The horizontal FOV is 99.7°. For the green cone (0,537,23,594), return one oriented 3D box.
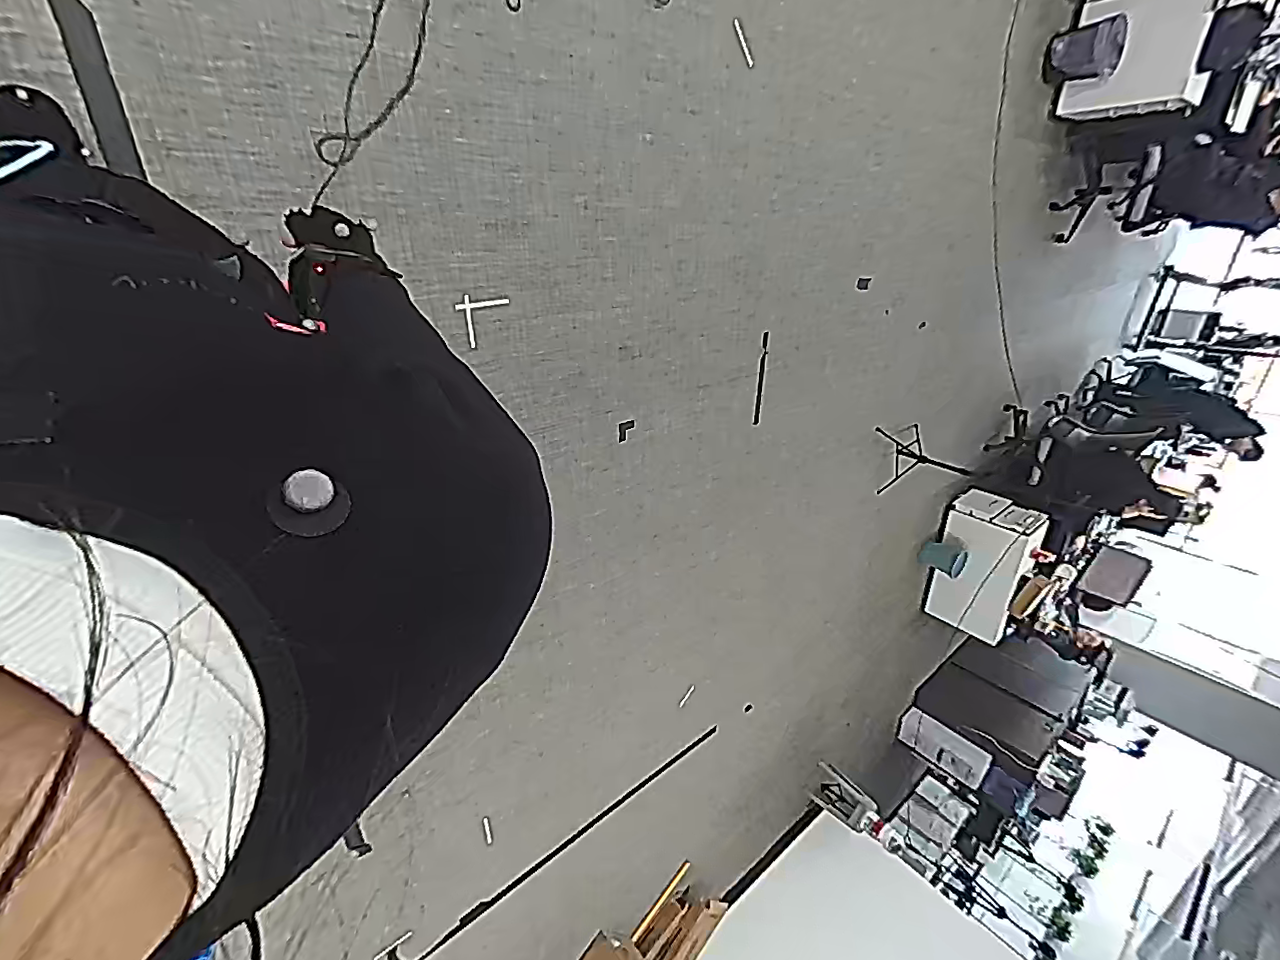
[{"bbox_3d":[-1.164,0.201,0.833,0.202,0.368,0.200,-18,120,-34],"label":"green cone"}]

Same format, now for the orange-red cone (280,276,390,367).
[{"bbox_3d":[-0.589,-0.300,1.119,0.199,0.360,0.198,-14,120,-38],"label":"orange-red cone"}]

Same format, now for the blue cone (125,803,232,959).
[{"bbox_3d":[-1.090,0.996,1.289,0.192,0.380,0.193,-14,118,-36],"label":"blue cone"}]
